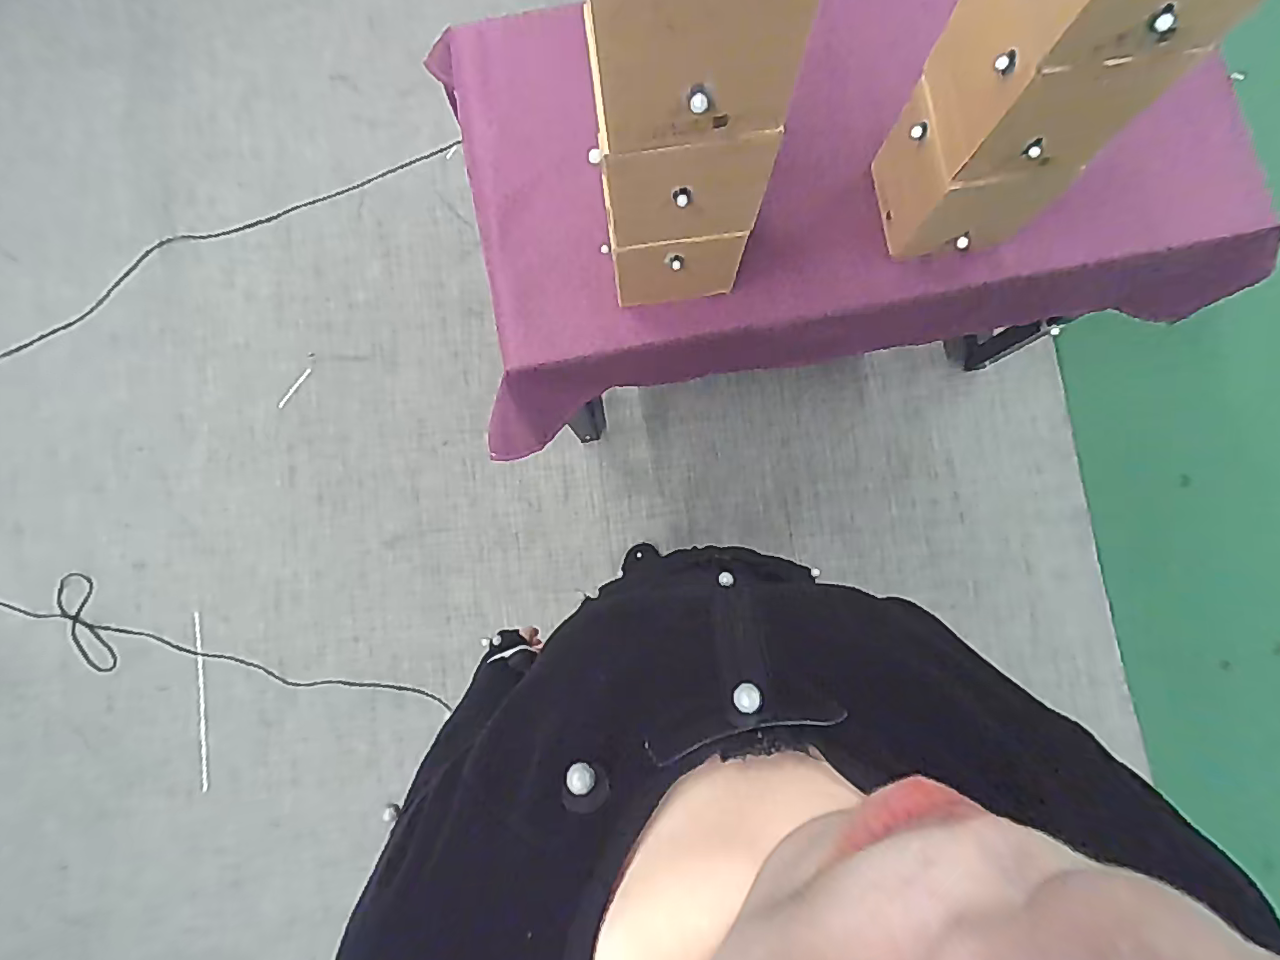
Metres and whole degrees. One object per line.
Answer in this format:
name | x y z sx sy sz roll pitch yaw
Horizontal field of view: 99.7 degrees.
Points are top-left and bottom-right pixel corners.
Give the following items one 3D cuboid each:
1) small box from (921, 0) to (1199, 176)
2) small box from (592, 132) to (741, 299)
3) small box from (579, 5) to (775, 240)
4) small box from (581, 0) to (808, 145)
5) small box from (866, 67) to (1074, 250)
small box | 0.442 -0.480 0.603 0.168 0.176 0.179 -8 84 1
small box | 0.035 -0.374 0.765 0.179 0.176 0.168 -7 84 0
small box | 0.037 -0.395 0.603 0.179 0.176 0.168 -8 84 2
small box | 0.032 -0.419 0.440 0.168 0.176 0.179 -8 84 1
small box | 0.449 -0.451 0.763 0.179 0.176 0.168 -8 83 0
